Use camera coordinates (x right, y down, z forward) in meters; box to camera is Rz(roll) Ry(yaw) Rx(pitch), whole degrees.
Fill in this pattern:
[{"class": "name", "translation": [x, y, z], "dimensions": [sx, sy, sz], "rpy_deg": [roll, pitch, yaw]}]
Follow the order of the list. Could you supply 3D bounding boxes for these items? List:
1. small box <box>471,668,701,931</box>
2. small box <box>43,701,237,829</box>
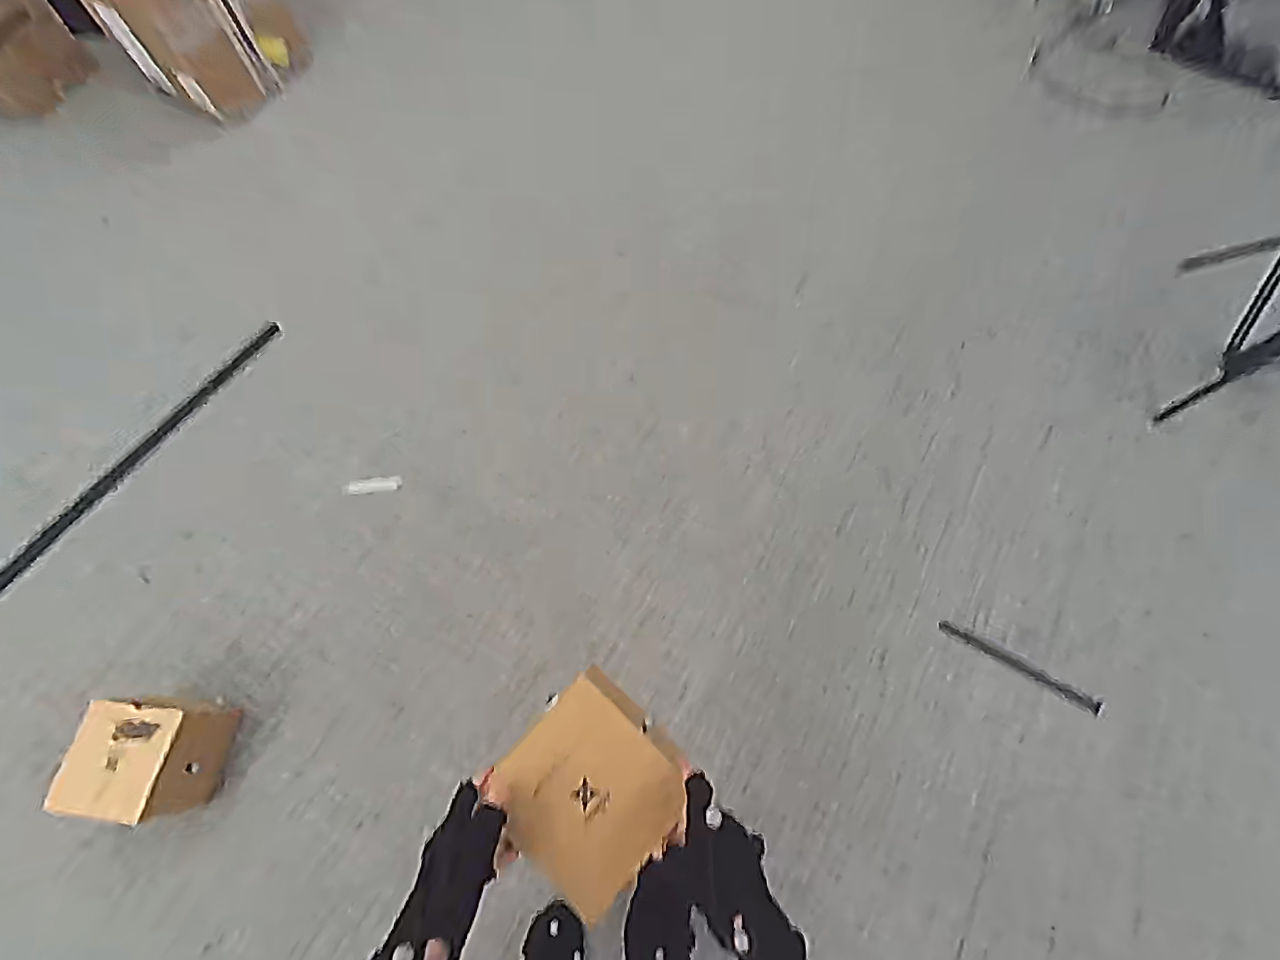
[{"class": "small box", "translation": [-0.056, 0.338, 0.620], "dimensions": [0.179, 0.176, 0.168], "rpy_deg": [42, 78, 8]}, {"class": "small box", "translation": [-0.893, 0.510, 0.992], "dimensions": [0.168, 0.176, 0.179], "rpy_deg": [9, 68, 1]}]
